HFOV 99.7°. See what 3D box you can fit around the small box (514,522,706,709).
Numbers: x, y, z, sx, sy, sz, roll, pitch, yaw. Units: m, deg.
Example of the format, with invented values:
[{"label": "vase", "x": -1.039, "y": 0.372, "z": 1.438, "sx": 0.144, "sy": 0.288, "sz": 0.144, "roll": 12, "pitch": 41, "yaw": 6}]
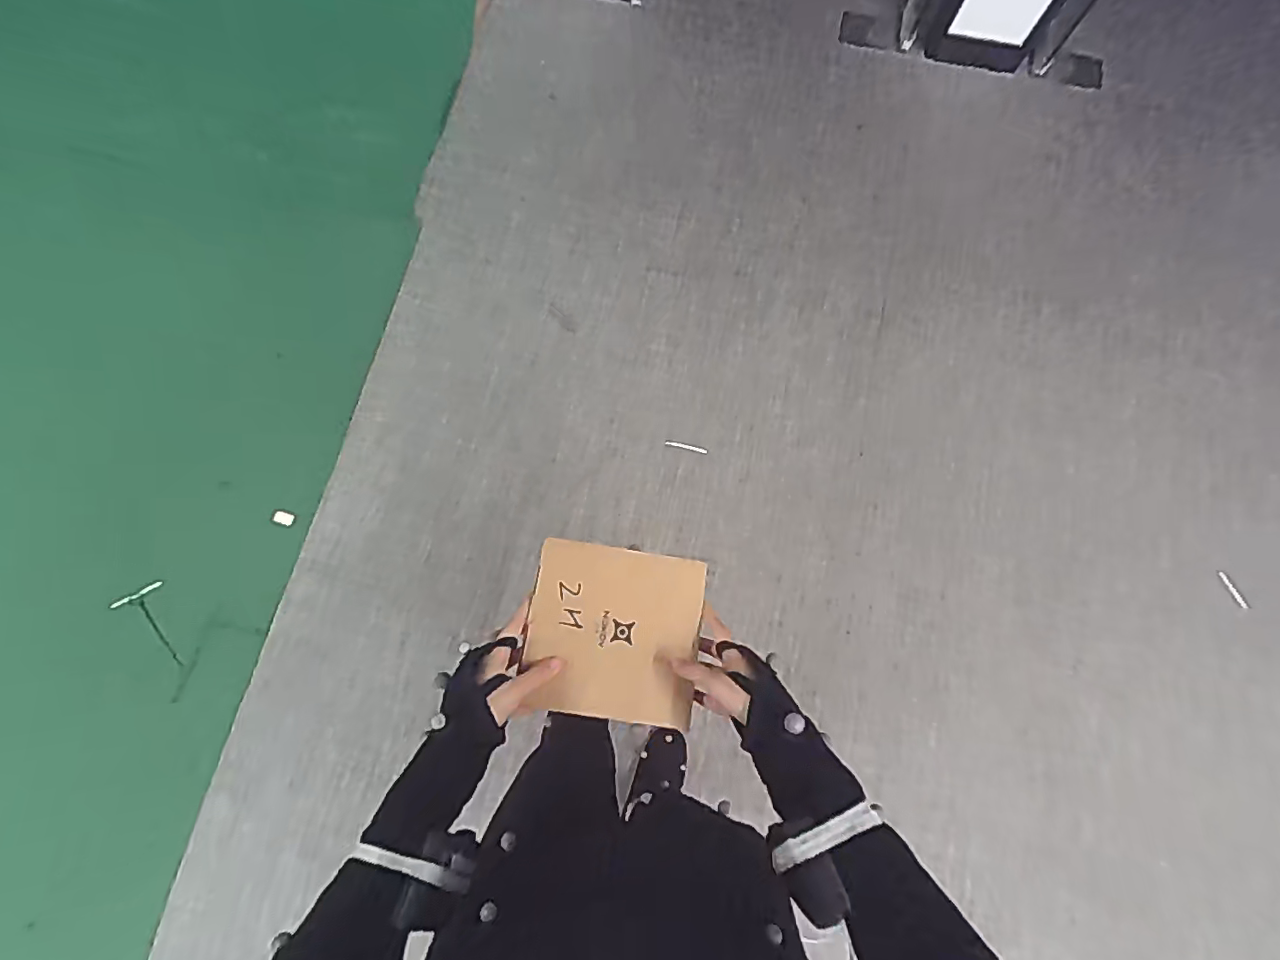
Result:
[{"label": "small box", "x": -0.033, "y": 0.159, "z": 0.632, "sx": 0.179, "sy": 0.176, "sz": 0.168, "roll": 10, "pitch": 71, "yaw": -1}]
